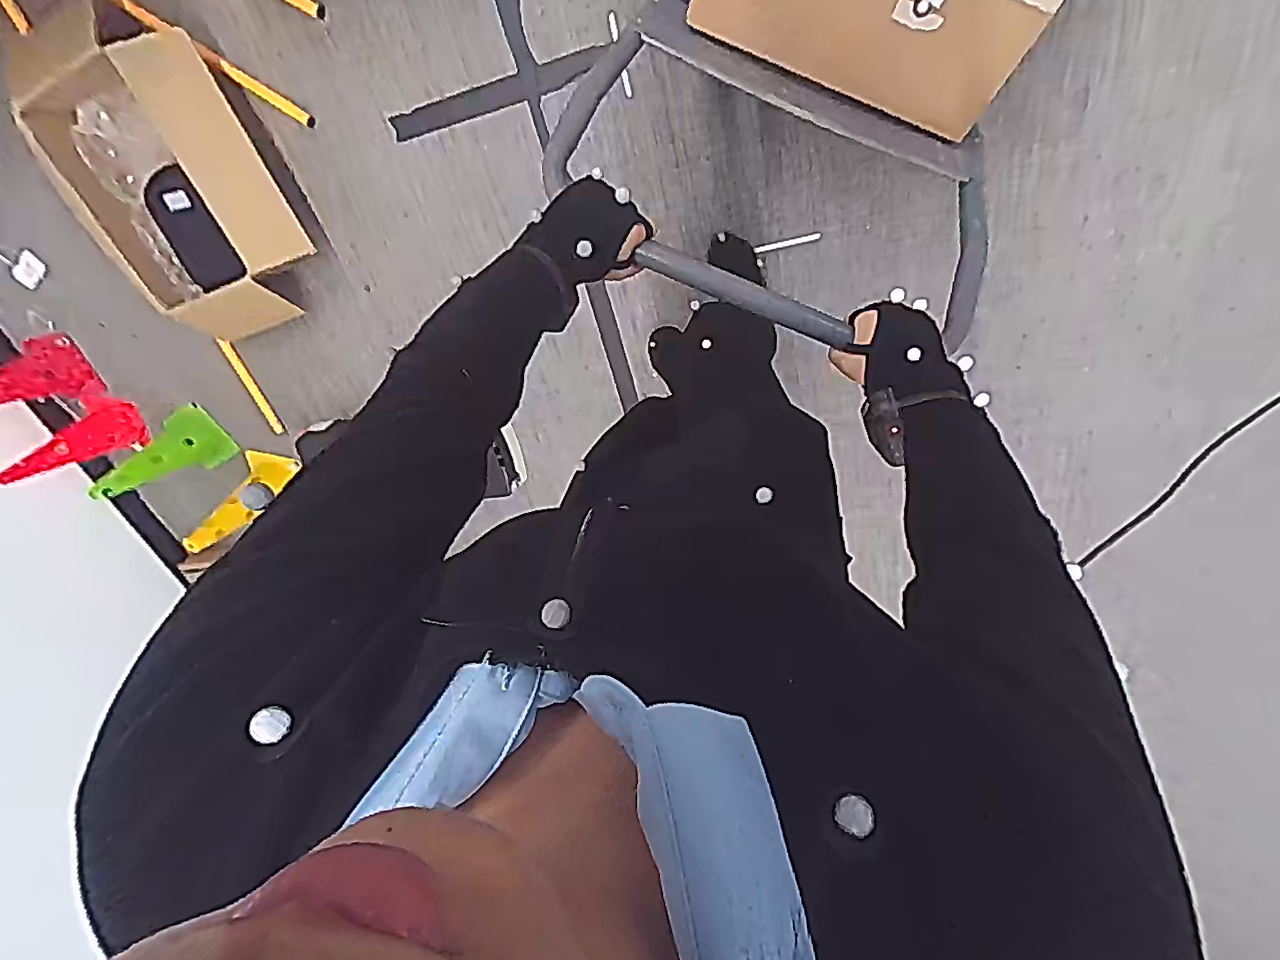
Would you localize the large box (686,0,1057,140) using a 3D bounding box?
[{"bbox_3d":[0.315,-0.715,0.677,0.408,0.320,0.320,21,146,-3],"label":"large box"}]
